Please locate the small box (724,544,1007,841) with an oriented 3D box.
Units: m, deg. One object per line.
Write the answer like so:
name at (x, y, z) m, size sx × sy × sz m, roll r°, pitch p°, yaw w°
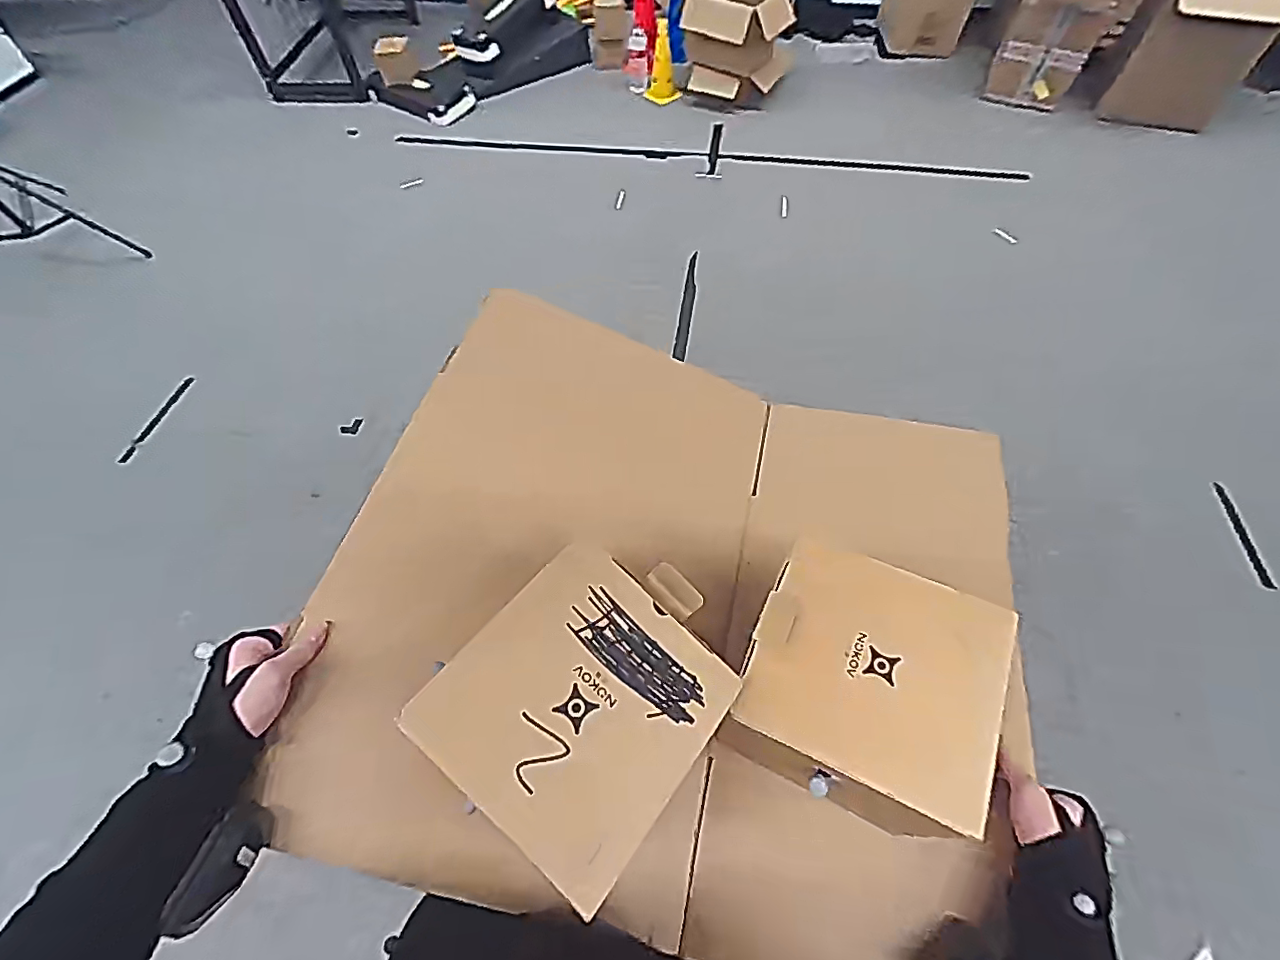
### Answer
small box at (0.186, 0.188, 0.485) m, size 0.179 × 0.176 × 0.168 m, roll 20°, pitch 62°, yaw 19°
